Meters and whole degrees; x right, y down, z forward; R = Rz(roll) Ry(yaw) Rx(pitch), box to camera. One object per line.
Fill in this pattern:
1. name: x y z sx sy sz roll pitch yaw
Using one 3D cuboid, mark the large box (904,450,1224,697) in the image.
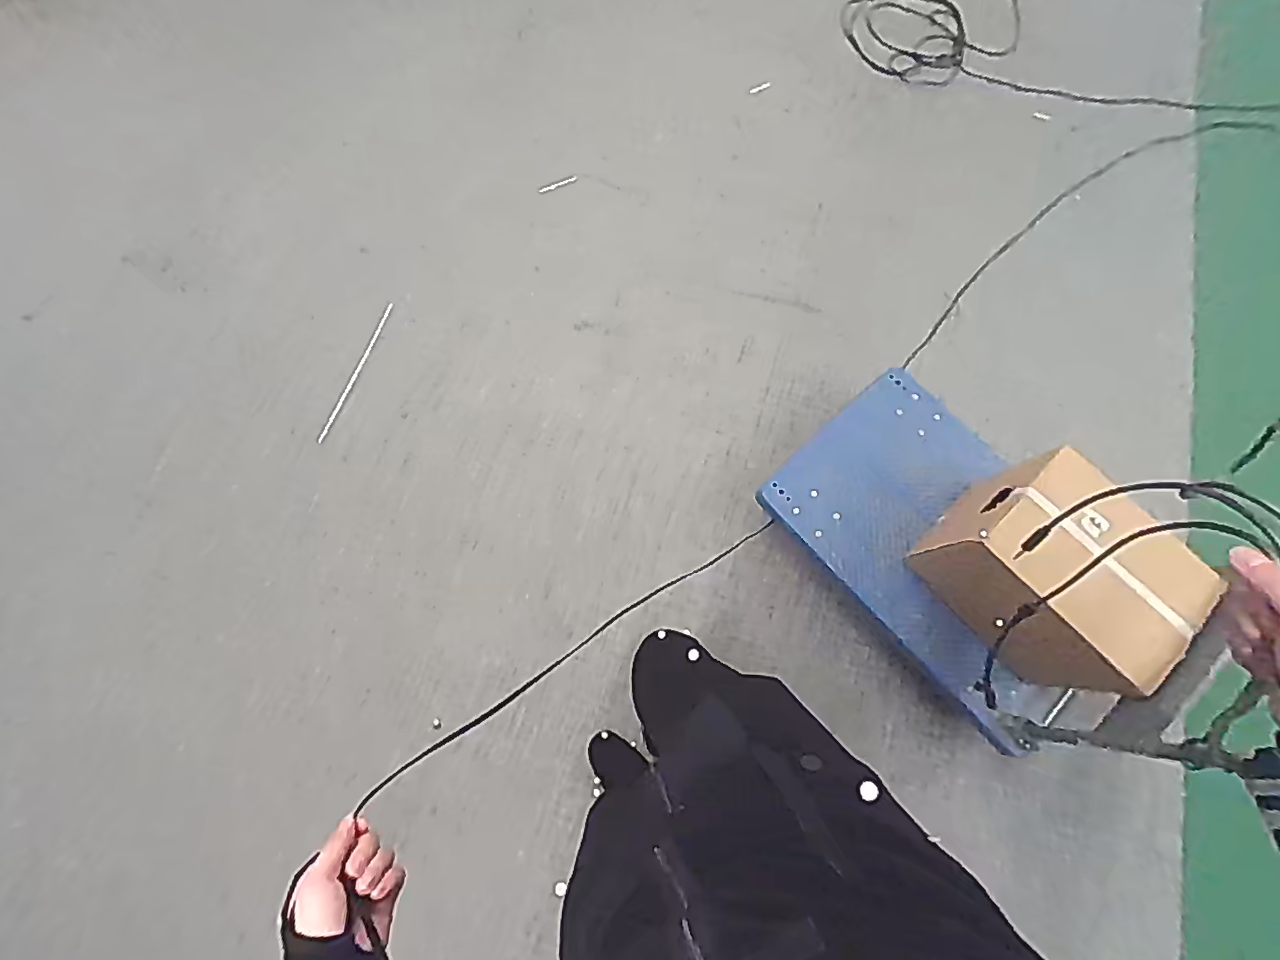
1. large box: 0.907 0.212 1.212 0.320 0.320 0.408 -41 79 -13
